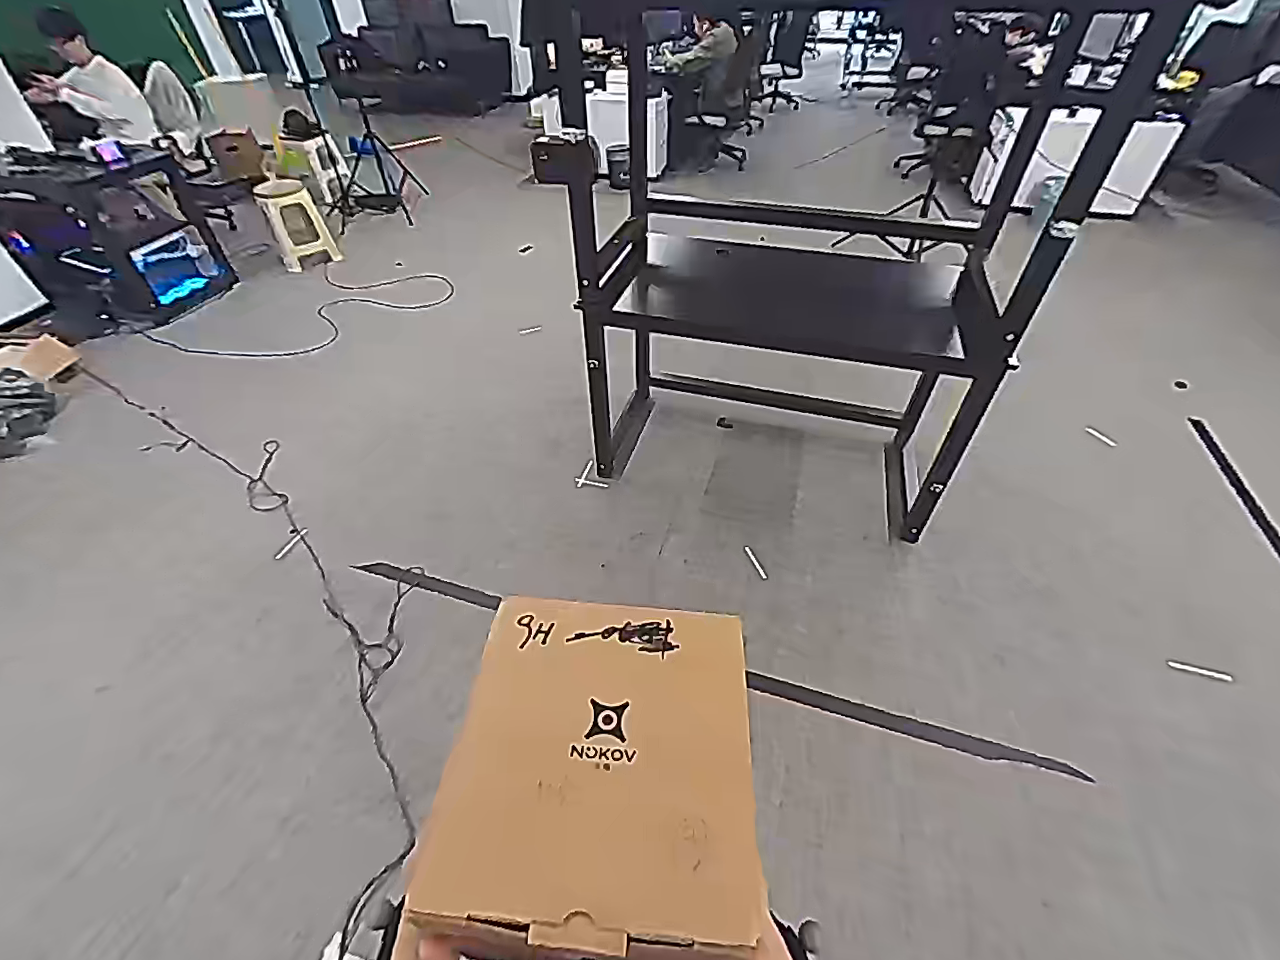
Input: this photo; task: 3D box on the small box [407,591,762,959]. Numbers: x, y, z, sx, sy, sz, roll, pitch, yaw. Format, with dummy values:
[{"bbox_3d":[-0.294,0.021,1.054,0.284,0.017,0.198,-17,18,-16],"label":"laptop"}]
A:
[{"bbox_3d":[-0.019,0.198,0.355,0.168,0.176,0.179,5,44,3],"label":"small box"}]
